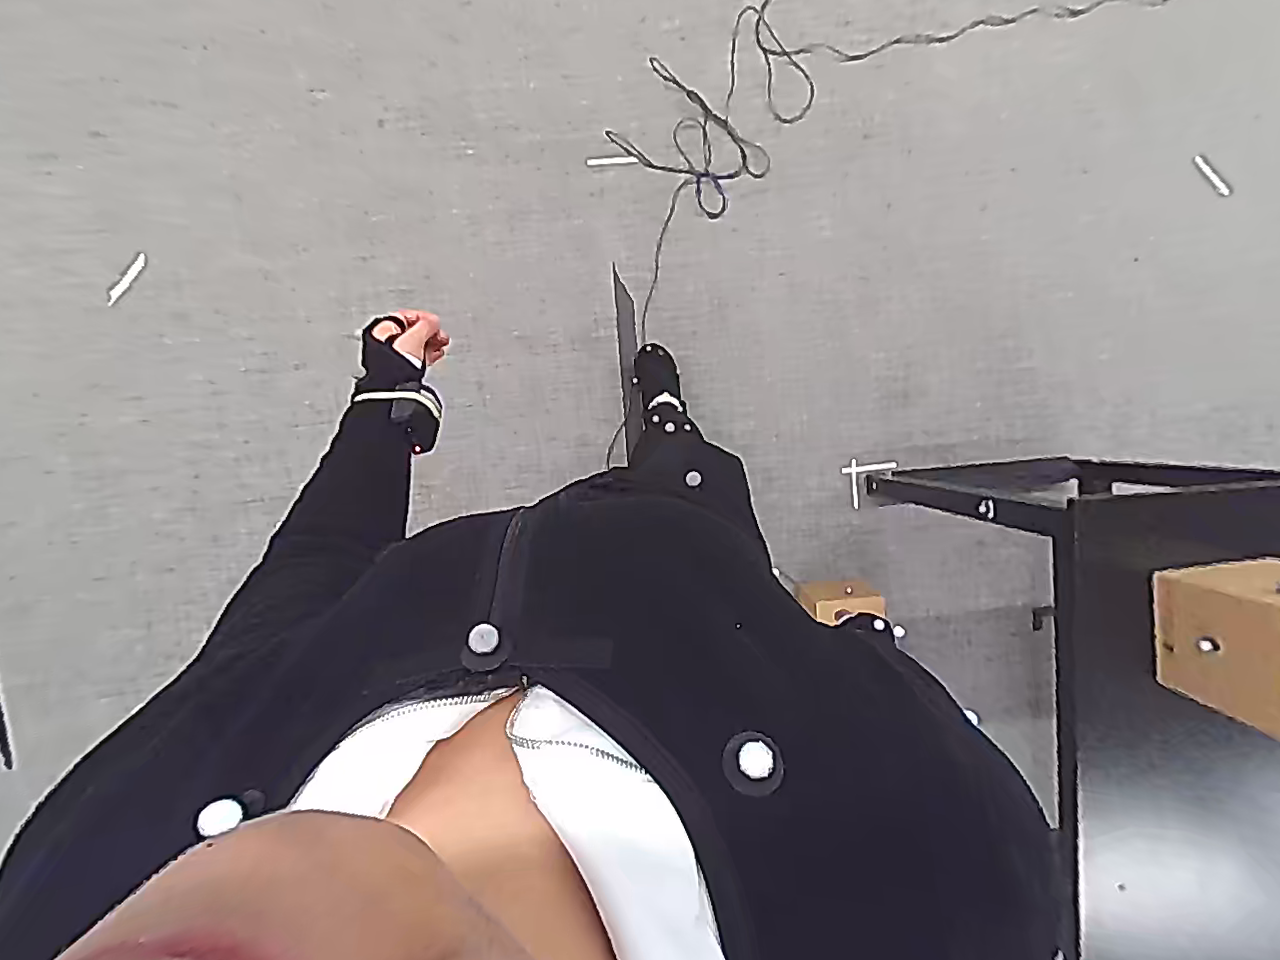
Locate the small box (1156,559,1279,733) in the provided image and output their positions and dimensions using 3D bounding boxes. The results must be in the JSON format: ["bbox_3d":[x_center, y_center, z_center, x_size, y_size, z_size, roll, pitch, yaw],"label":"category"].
[{"bbox_3d":[0.831,0.208,0.708,0.179,0.176,0.168,-7,95,-1],"label":"small box"}]

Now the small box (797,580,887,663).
[{"bbox_3d":[0.535,0.371,1.448,0.179,0.176,0.168,-5,94,1],"label":"small box"}]
